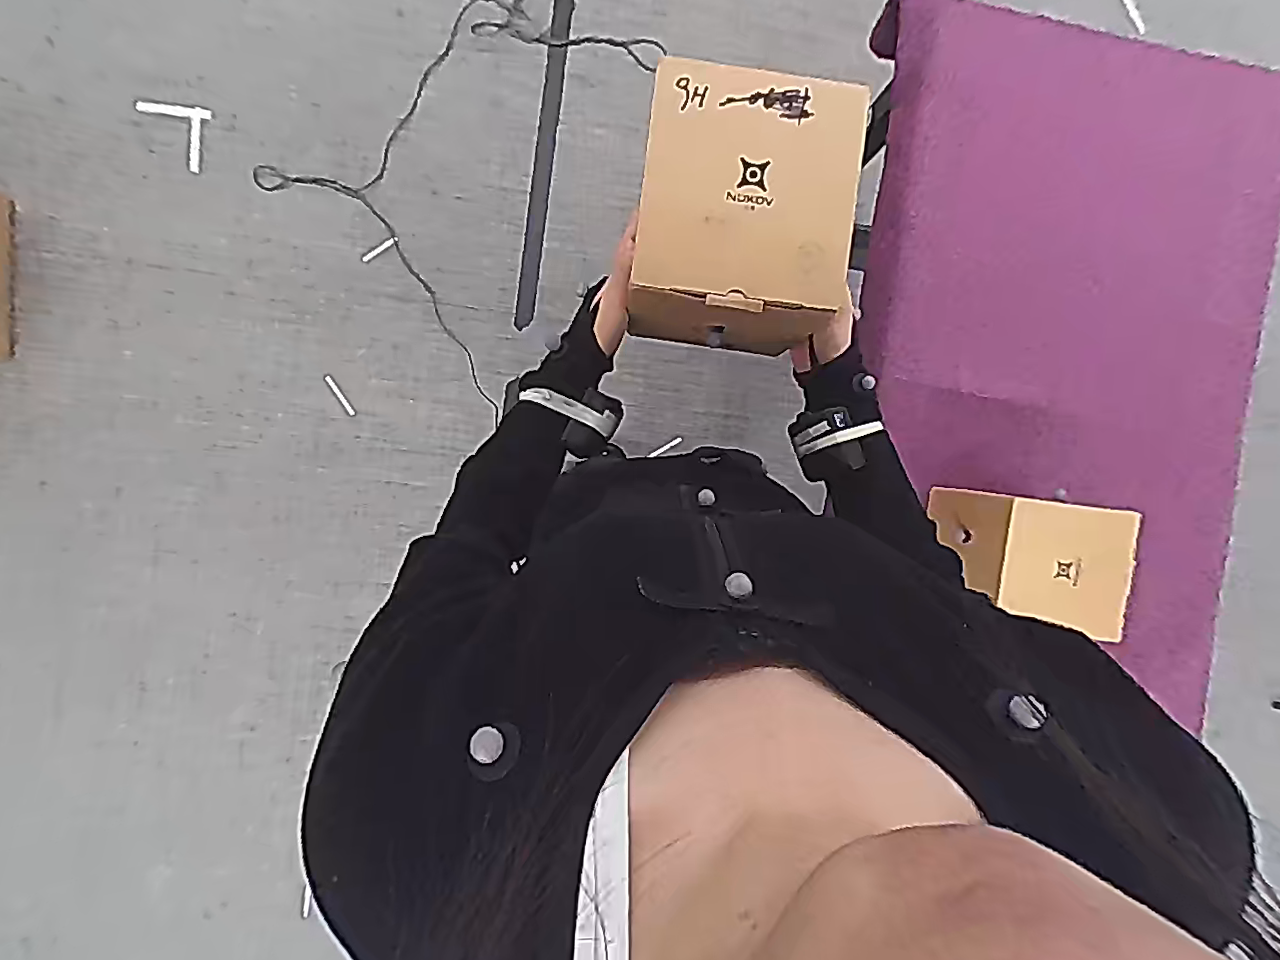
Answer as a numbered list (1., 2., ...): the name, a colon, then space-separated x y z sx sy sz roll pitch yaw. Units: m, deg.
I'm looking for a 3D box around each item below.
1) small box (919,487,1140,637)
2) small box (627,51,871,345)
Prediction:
1. small box: 0.520 0.102 0.745 0.179 0.176 0.168 7 92 -7
2. small box: 0.081 -0.229 0.489 0.168 0.176 0.179 7 93 -2
